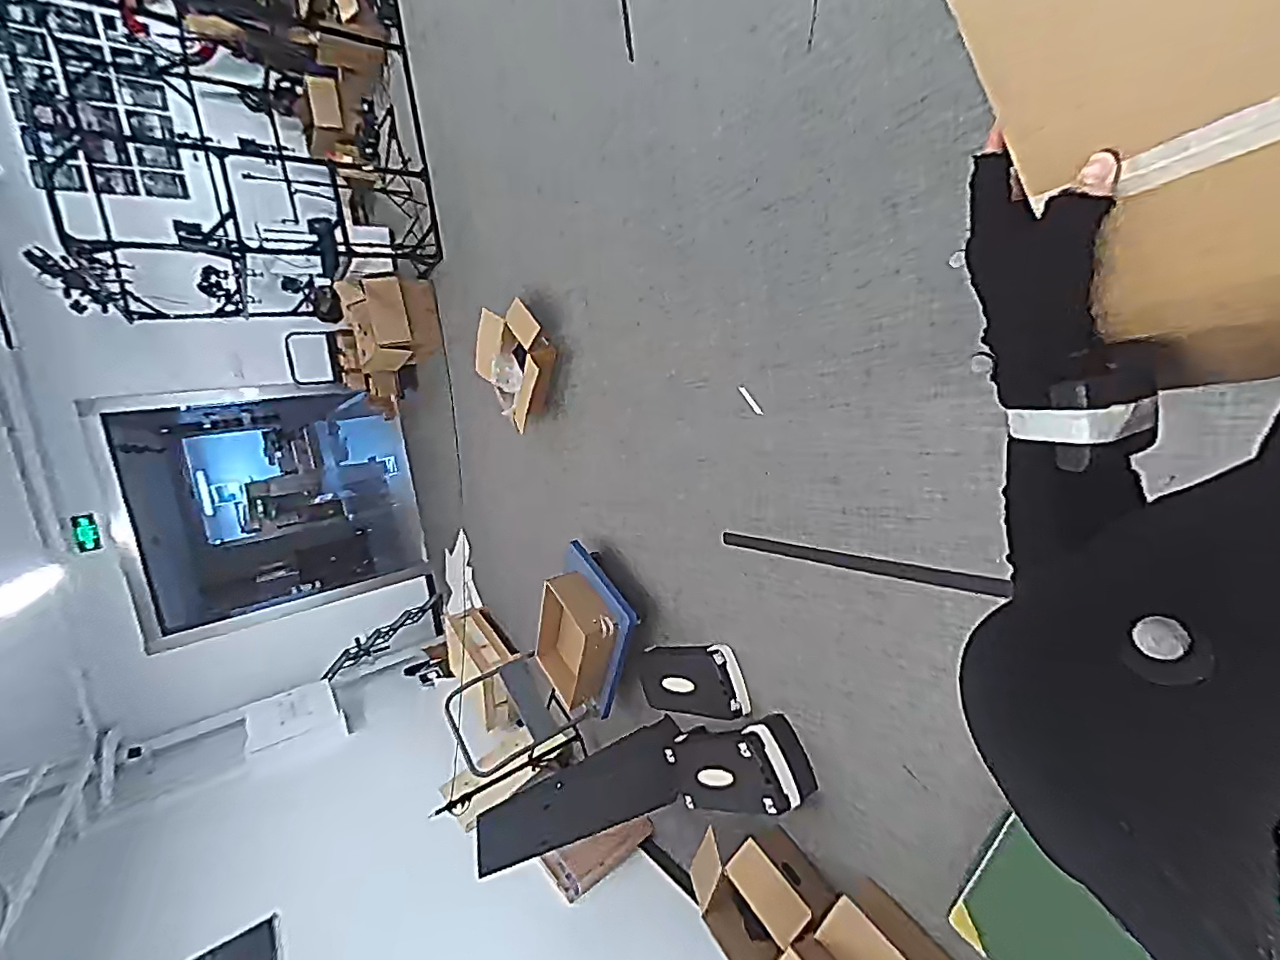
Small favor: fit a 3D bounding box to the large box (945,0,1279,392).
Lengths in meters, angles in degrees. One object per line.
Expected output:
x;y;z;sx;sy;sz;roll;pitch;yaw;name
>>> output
0.441;-0.283;0.232;0.320;0.320;0.408;47;156;-22;large box
